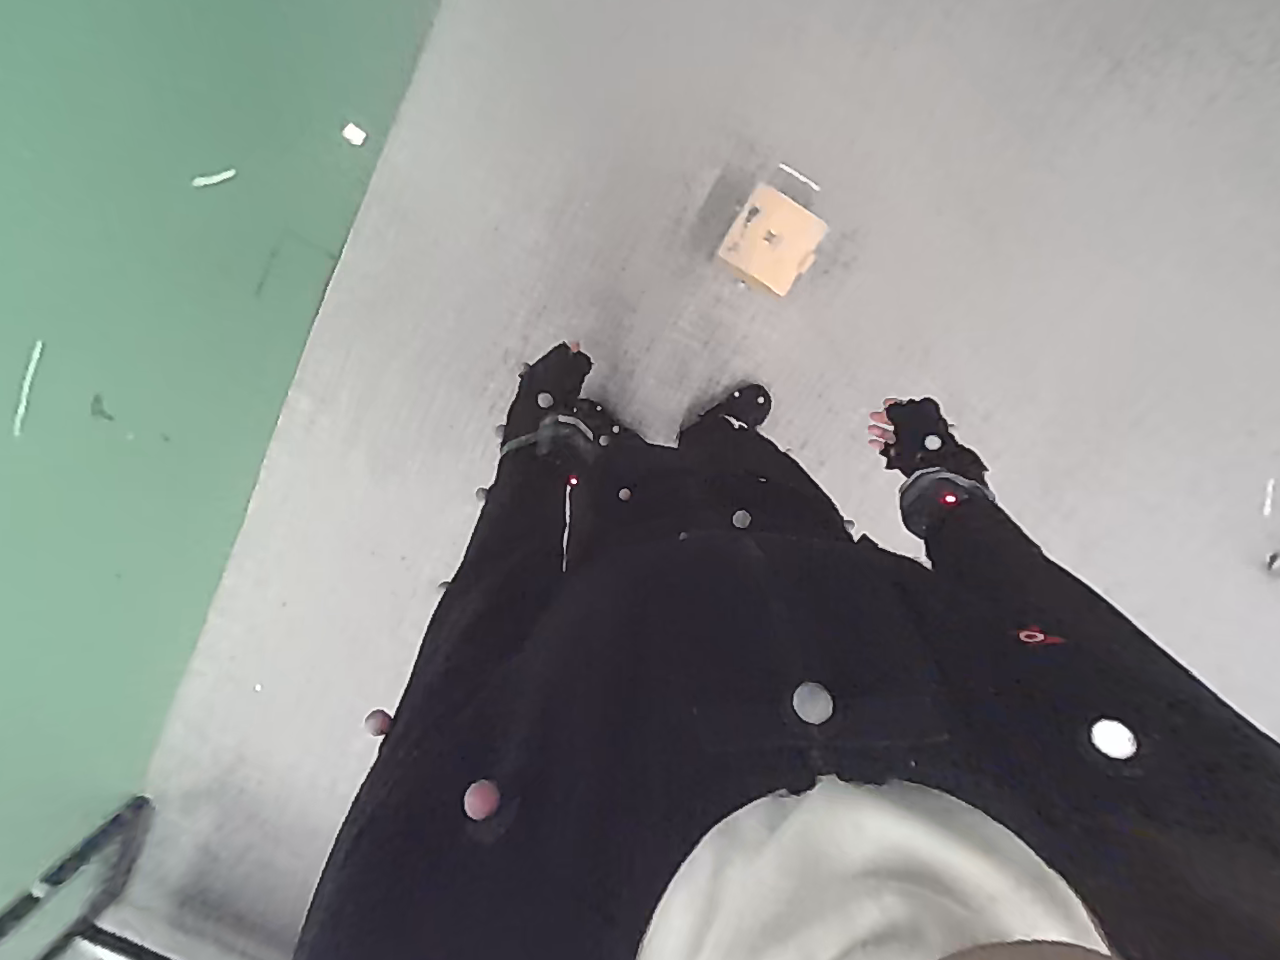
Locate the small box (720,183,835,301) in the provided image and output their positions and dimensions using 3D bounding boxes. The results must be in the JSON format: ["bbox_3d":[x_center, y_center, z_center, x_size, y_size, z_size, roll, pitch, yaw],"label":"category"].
[{"bbox_3d":[0.294,-0.517,1.201,0.179,0.176,0.168,33,106,-4],"label":"small box"}]
